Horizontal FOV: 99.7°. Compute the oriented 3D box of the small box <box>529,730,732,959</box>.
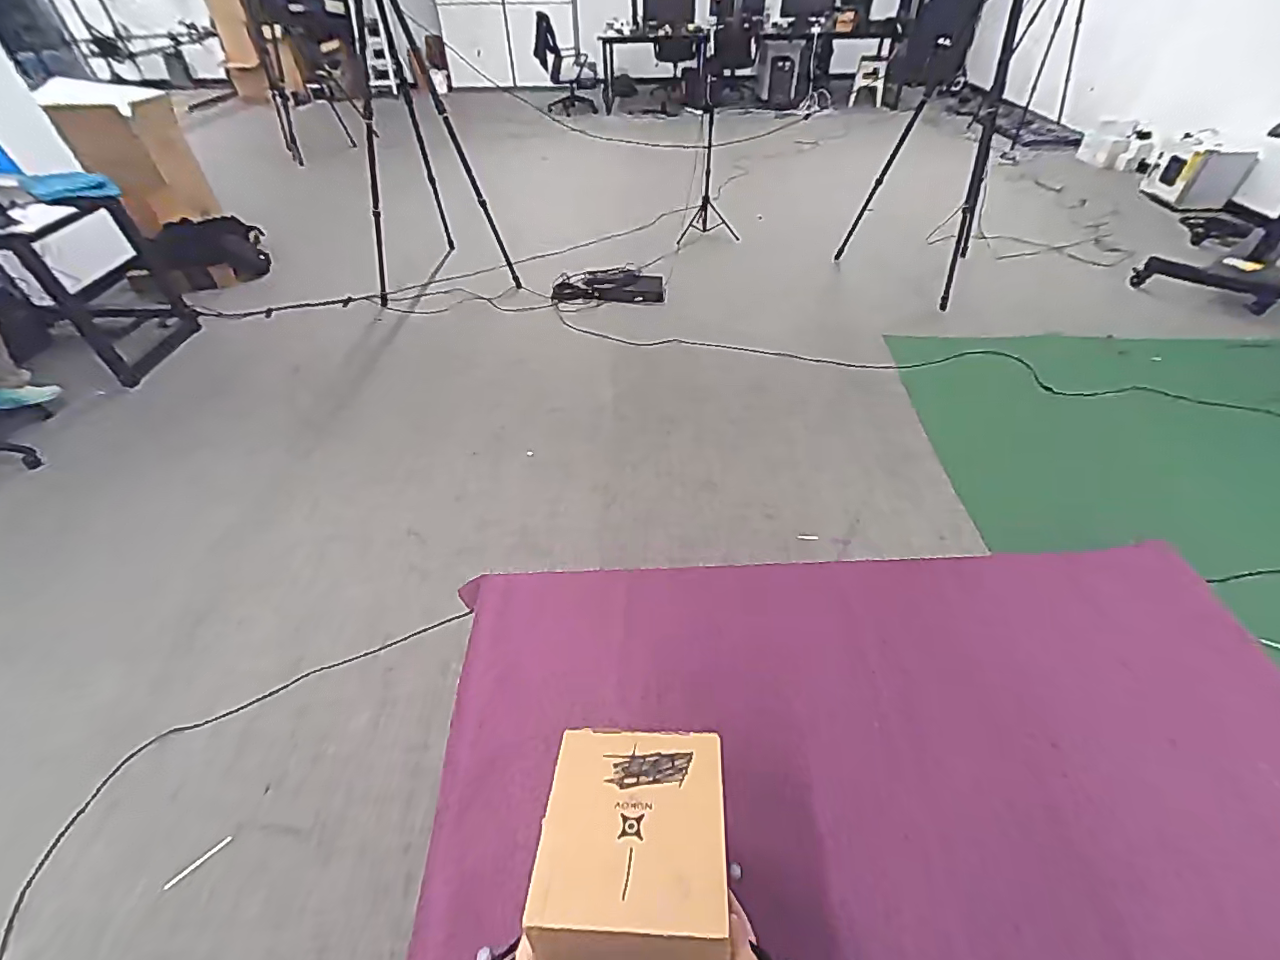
[{"bbox_3d":[0.002,0.381,0.537,0.168,0.176,0.179,-2,30,6],"label":"small box"}]
